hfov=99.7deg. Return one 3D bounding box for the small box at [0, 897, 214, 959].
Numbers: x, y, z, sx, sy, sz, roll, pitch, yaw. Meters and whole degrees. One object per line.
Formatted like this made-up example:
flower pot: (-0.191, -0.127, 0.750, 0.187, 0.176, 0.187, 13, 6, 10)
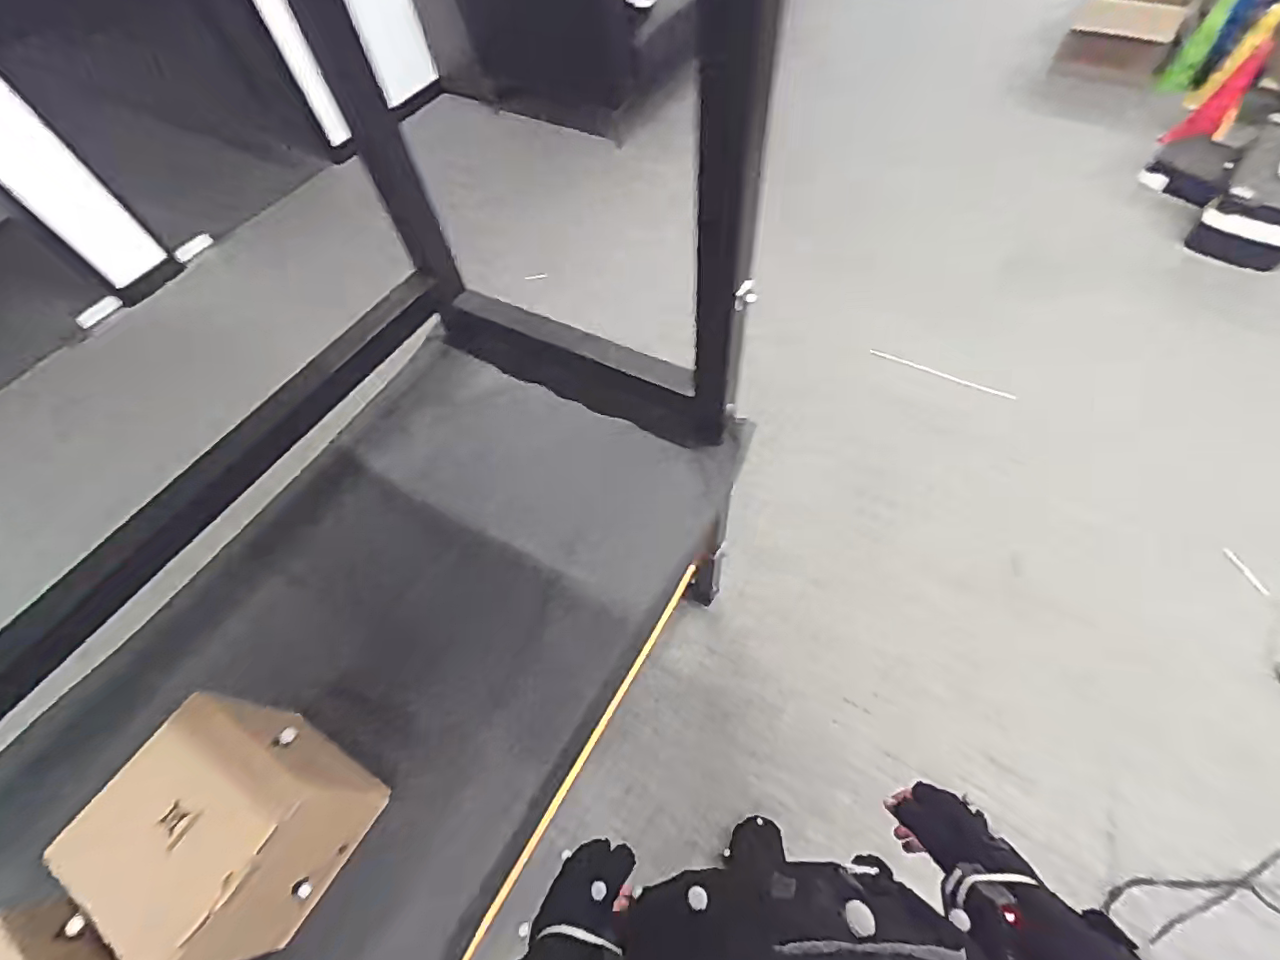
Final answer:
small box: (-0.517, 0.505, 0.473, 0.179, 0.176, 0.168, 25, 64, 20)
